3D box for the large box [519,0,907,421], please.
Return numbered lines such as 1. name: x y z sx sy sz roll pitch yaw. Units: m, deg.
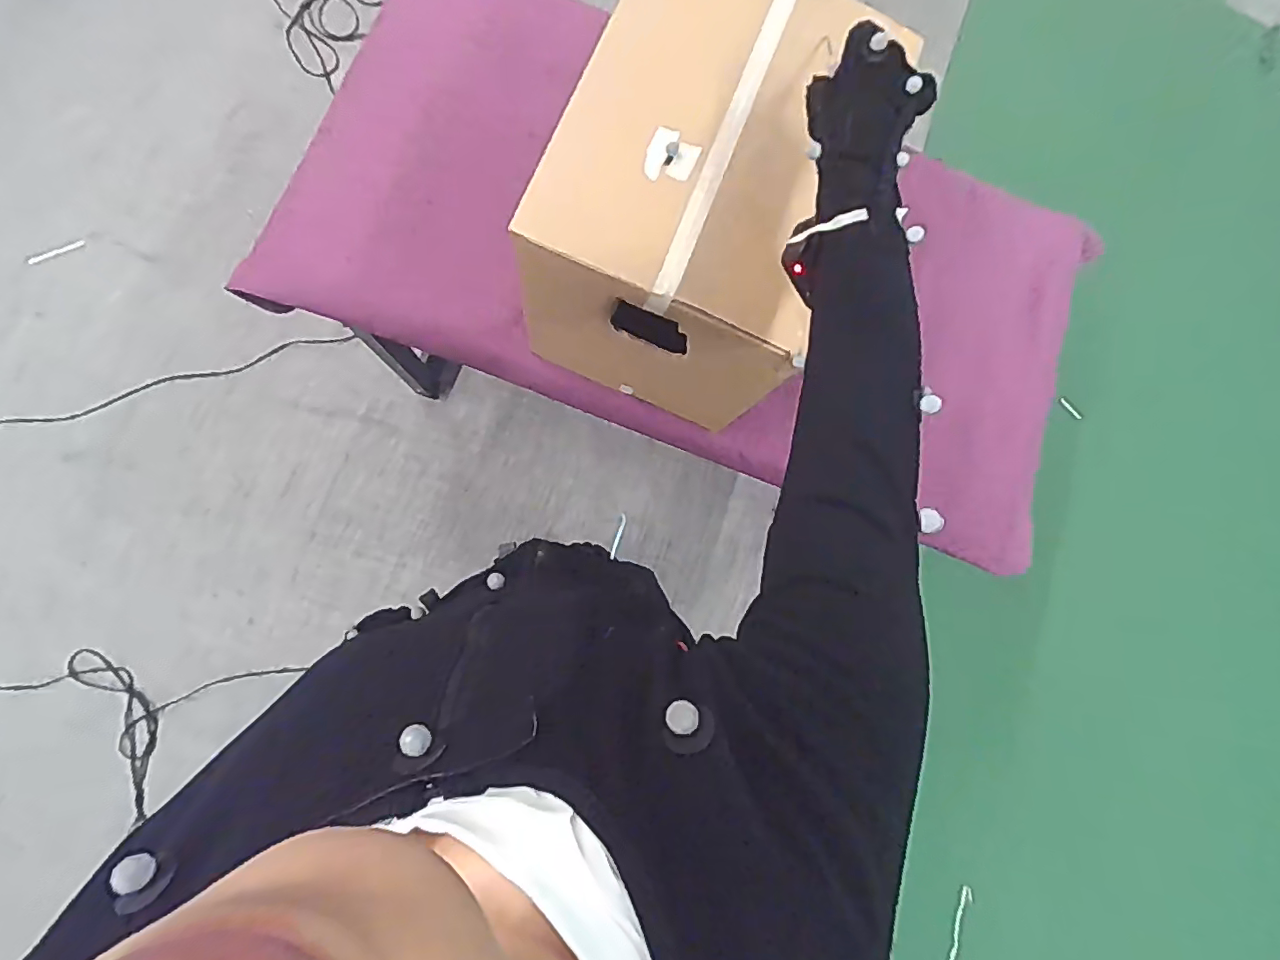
1. large box: 0.070 -0.343 0.707 0.320 0.320 0.408 23 81 -4
